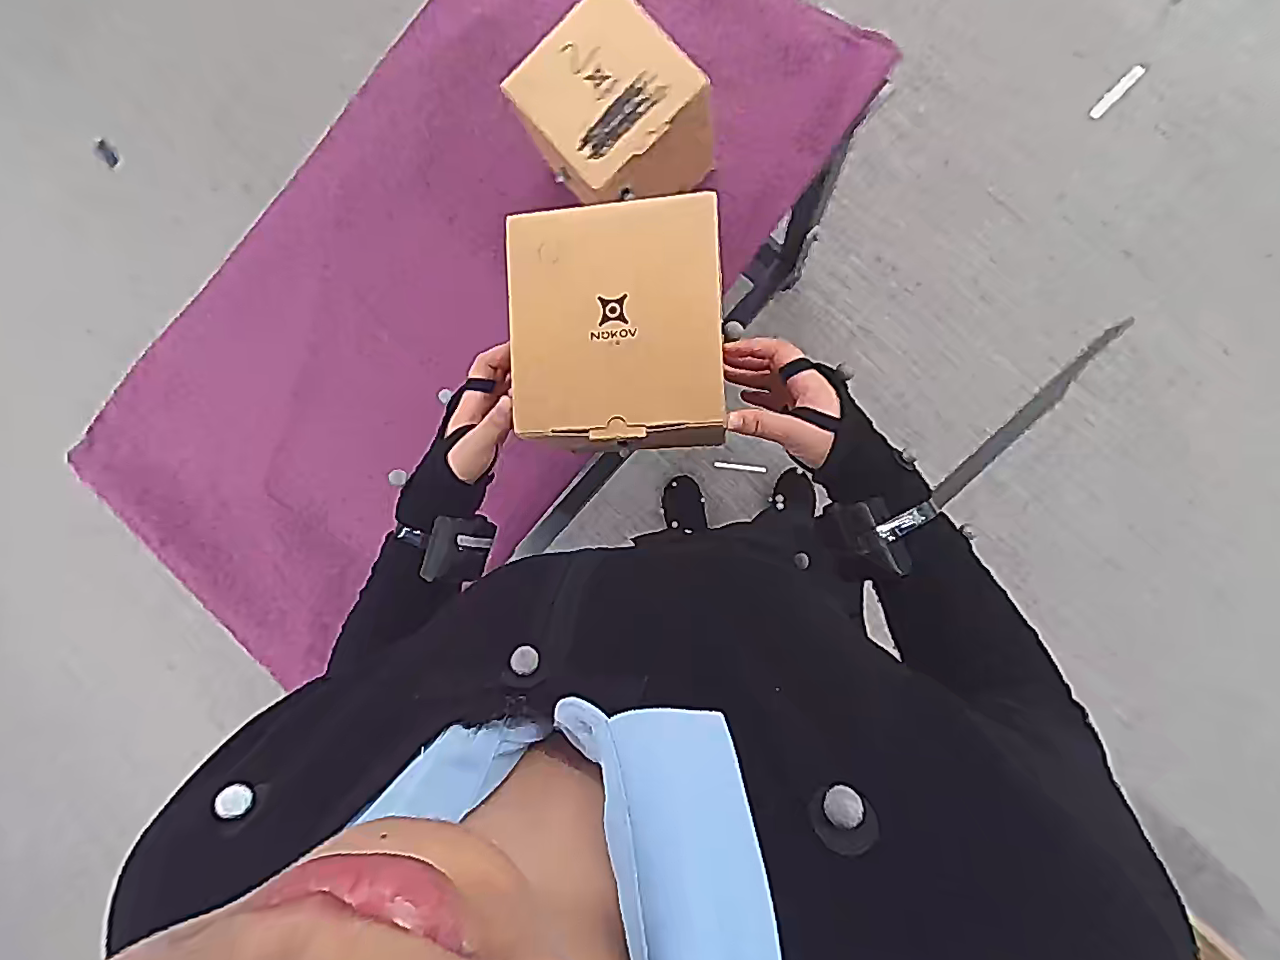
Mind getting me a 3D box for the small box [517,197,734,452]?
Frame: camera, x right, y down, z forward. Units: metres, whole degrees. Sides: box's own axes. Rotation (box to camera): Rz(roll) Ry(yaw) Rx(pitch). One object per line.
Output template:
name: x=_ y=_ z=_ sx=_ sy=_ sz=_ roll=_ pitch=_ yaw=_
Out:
small box: x=-0.003 y=-0.121 z=0.487 sx=0.168 sy=0.176 sz=0.179 roll=-2 pitch=89 yaw=8
